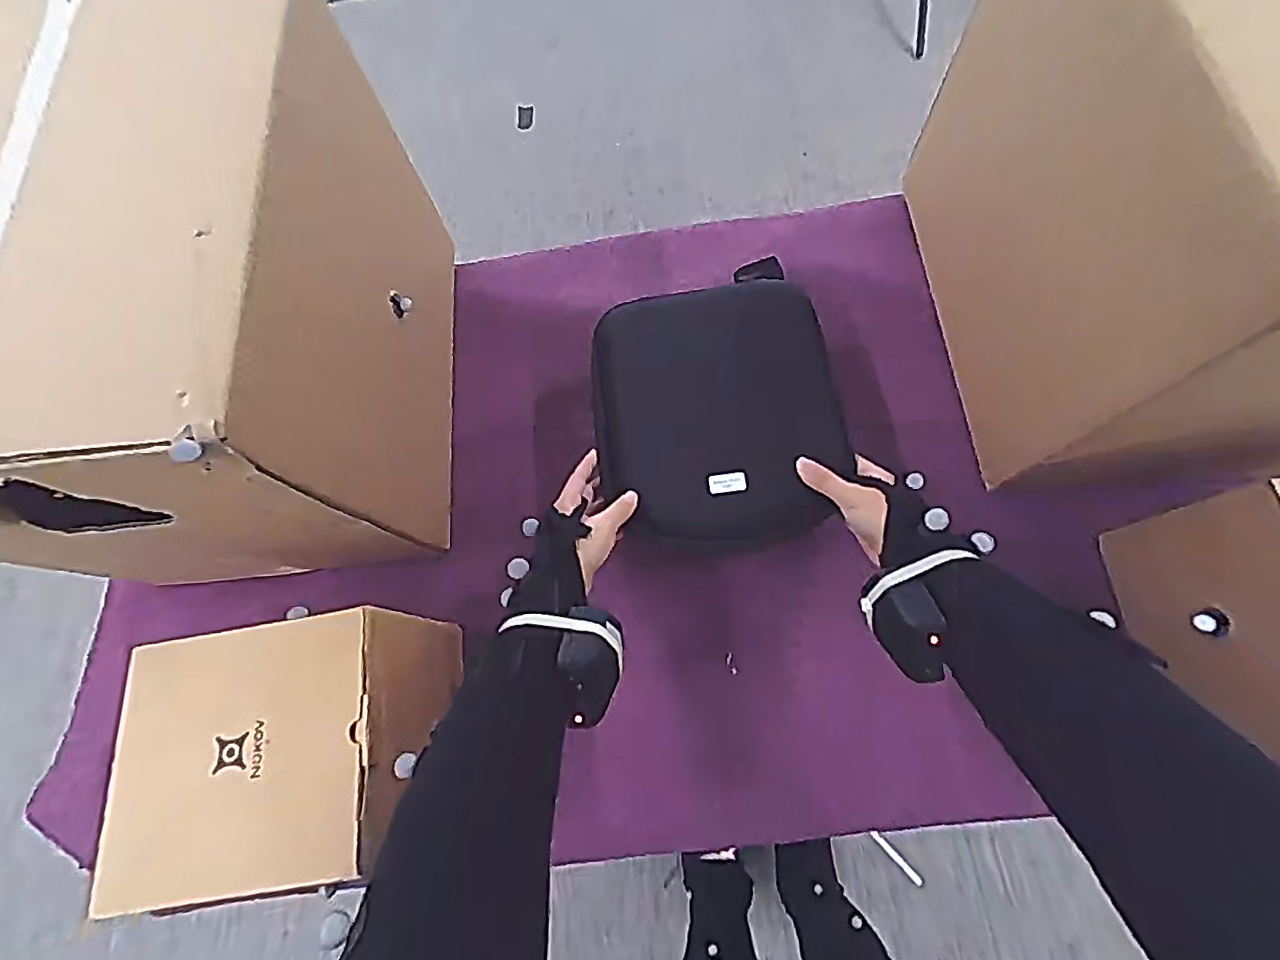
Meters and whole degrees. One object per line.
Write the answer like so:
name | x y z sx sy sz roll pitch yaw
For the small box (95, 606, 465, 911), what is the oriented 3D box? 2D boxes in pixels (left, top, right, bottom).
small box | -0.260 0.208 0.437 0.179 0.176 0.168 -11 69 1

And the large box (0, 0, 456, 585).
large box | -0.375 -0.137 0.493 0.320 0.320 0.408 -7 73 2
